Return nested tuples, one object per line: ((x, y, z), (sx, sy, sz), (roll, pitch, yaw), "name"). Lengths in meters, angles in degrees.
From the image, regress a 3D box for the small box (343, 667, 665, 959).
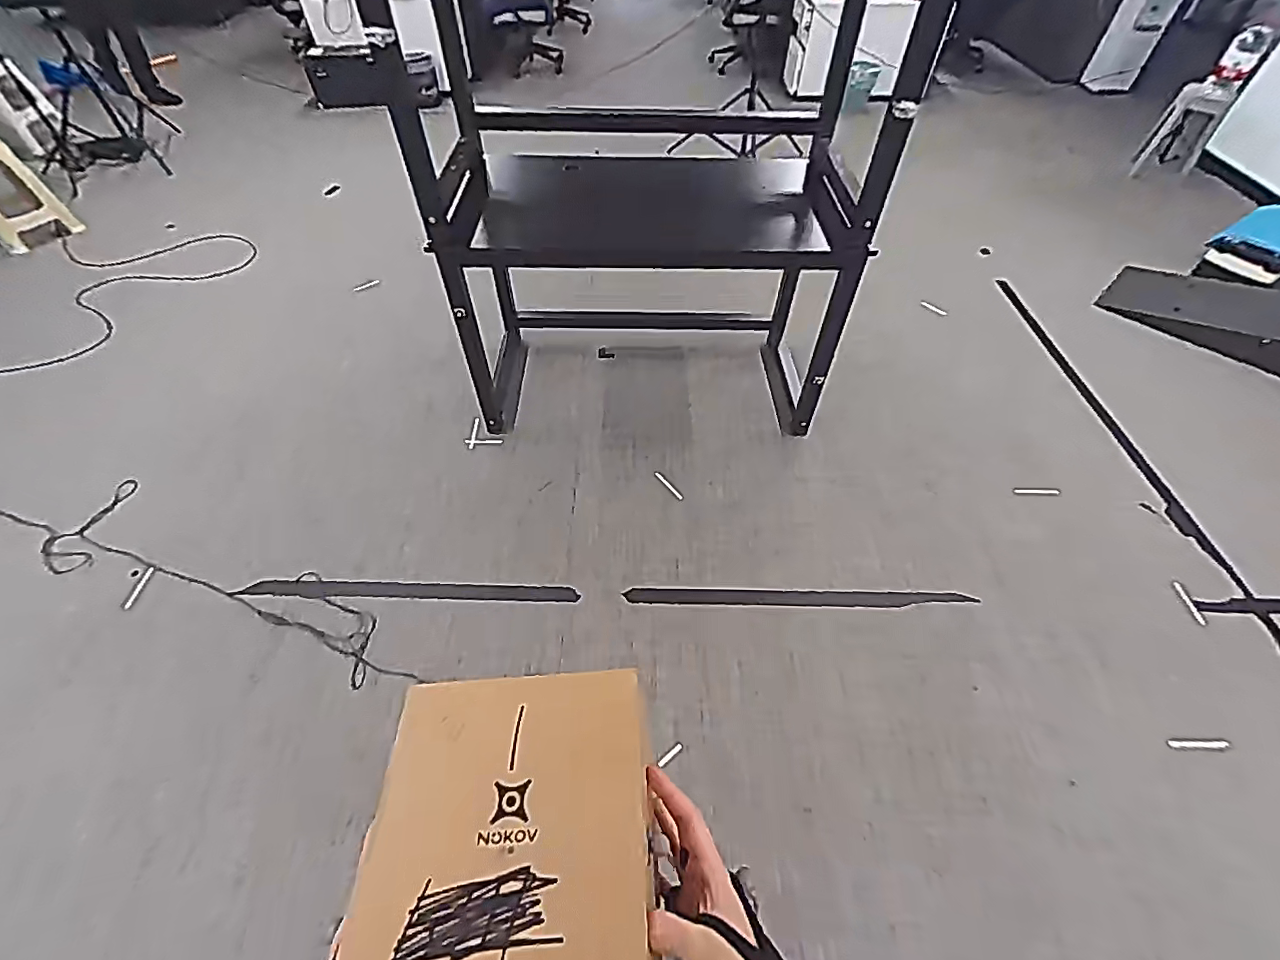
((-0.071, 0.254, 0.383), (0.168, 0.176, 0.179), (-4, 47, 1), "small box")
